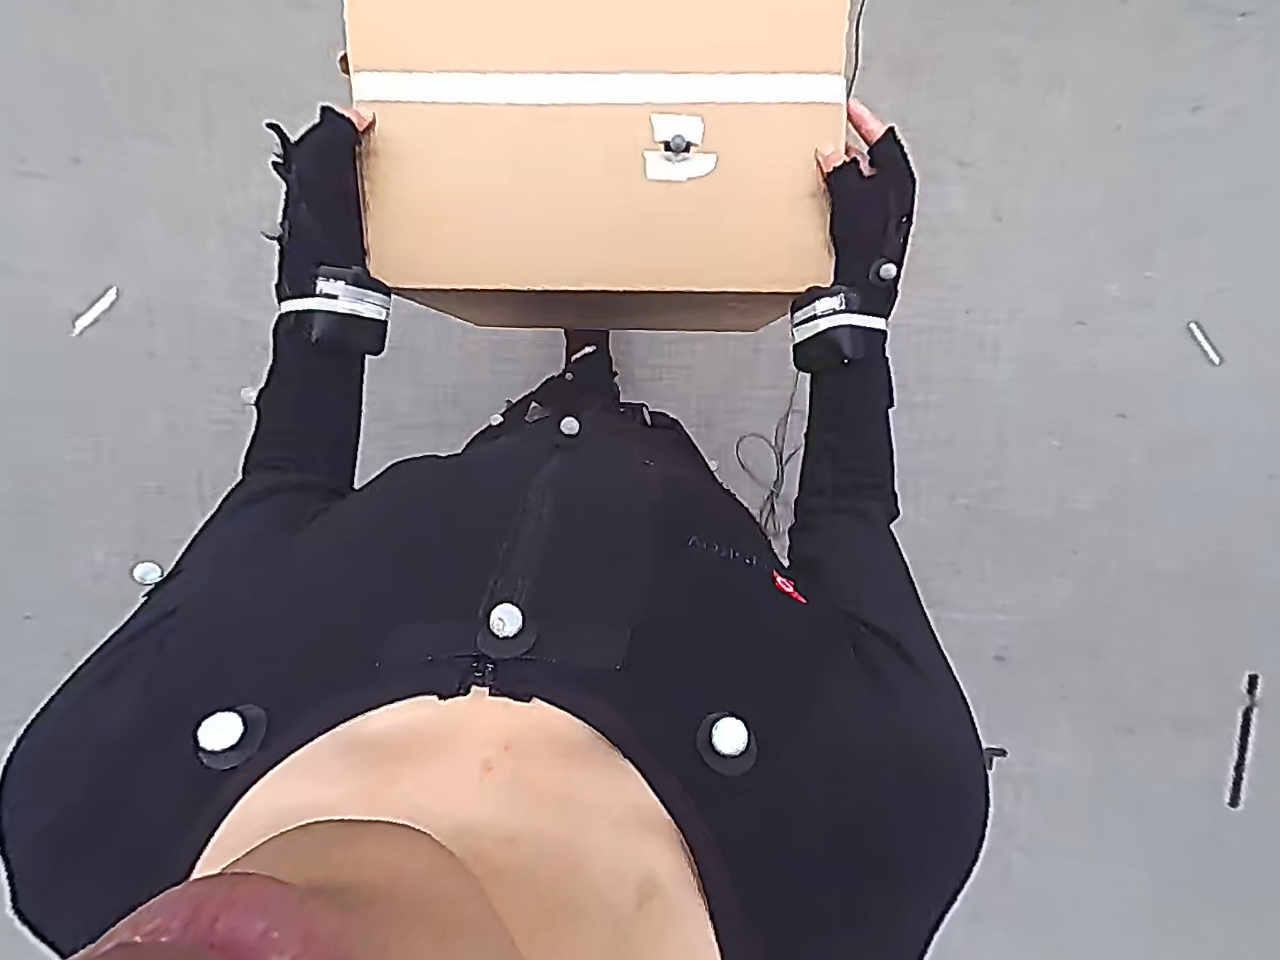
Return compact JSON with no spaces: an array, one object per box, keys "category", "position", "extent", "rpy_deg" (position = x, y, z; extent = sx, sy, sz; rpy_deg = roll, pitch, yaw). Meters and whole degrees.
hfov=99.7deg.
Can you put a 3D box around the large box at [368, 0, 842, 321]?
[{"category":"large box","position":[-0.031,-0.359,0.608],"extent":[0.408,0.320,0.320],"rpy_deg":[1,100,0]}]
